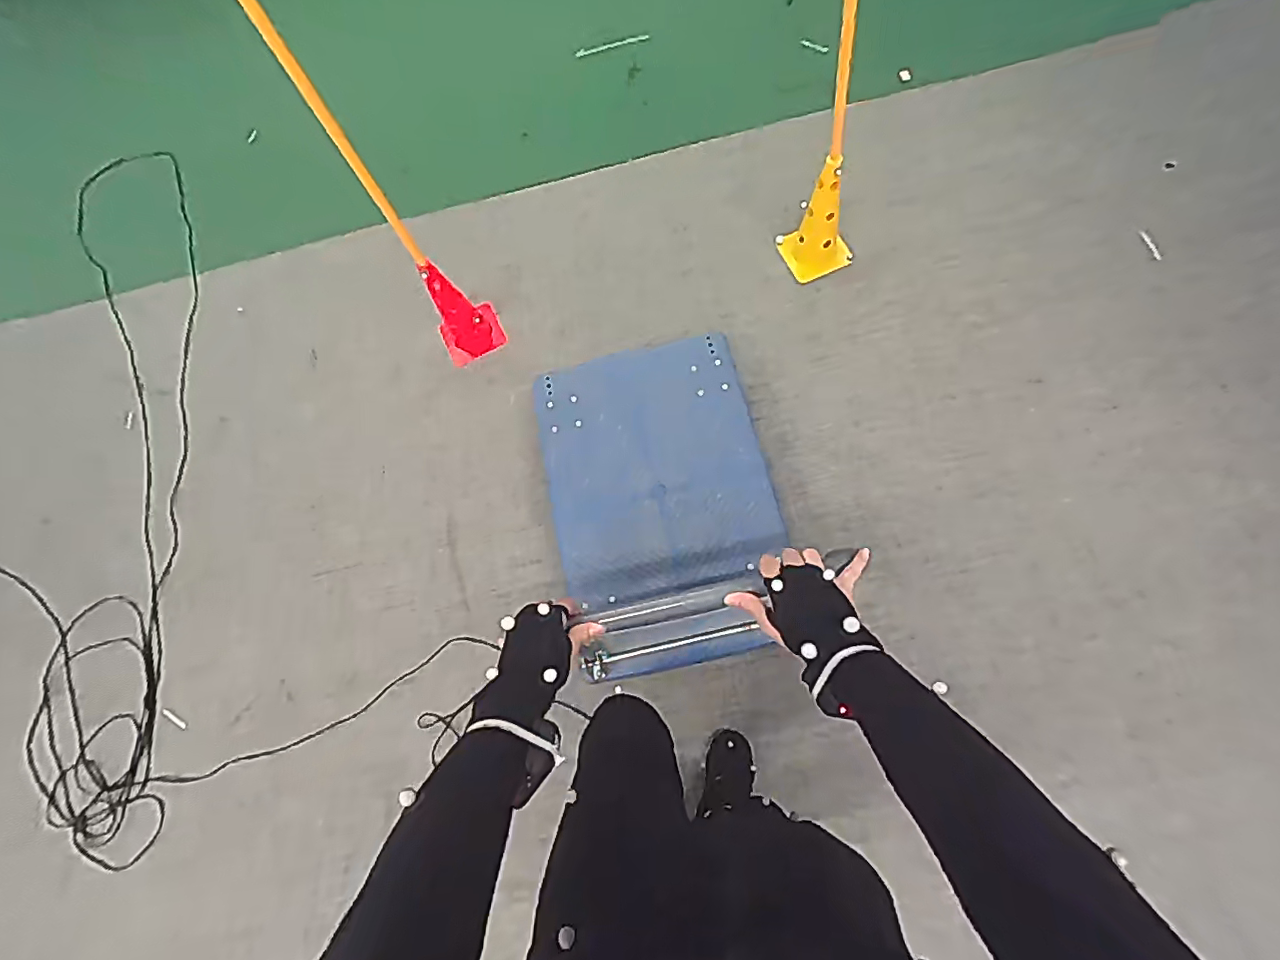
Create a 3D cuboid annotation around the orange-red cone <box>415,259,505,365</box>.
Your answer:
[{"bbox_3d":[-0.600,-0.557,1.705,0.199,0.360,0.198,-27,69,0],"label":"orange-red cone"}]
